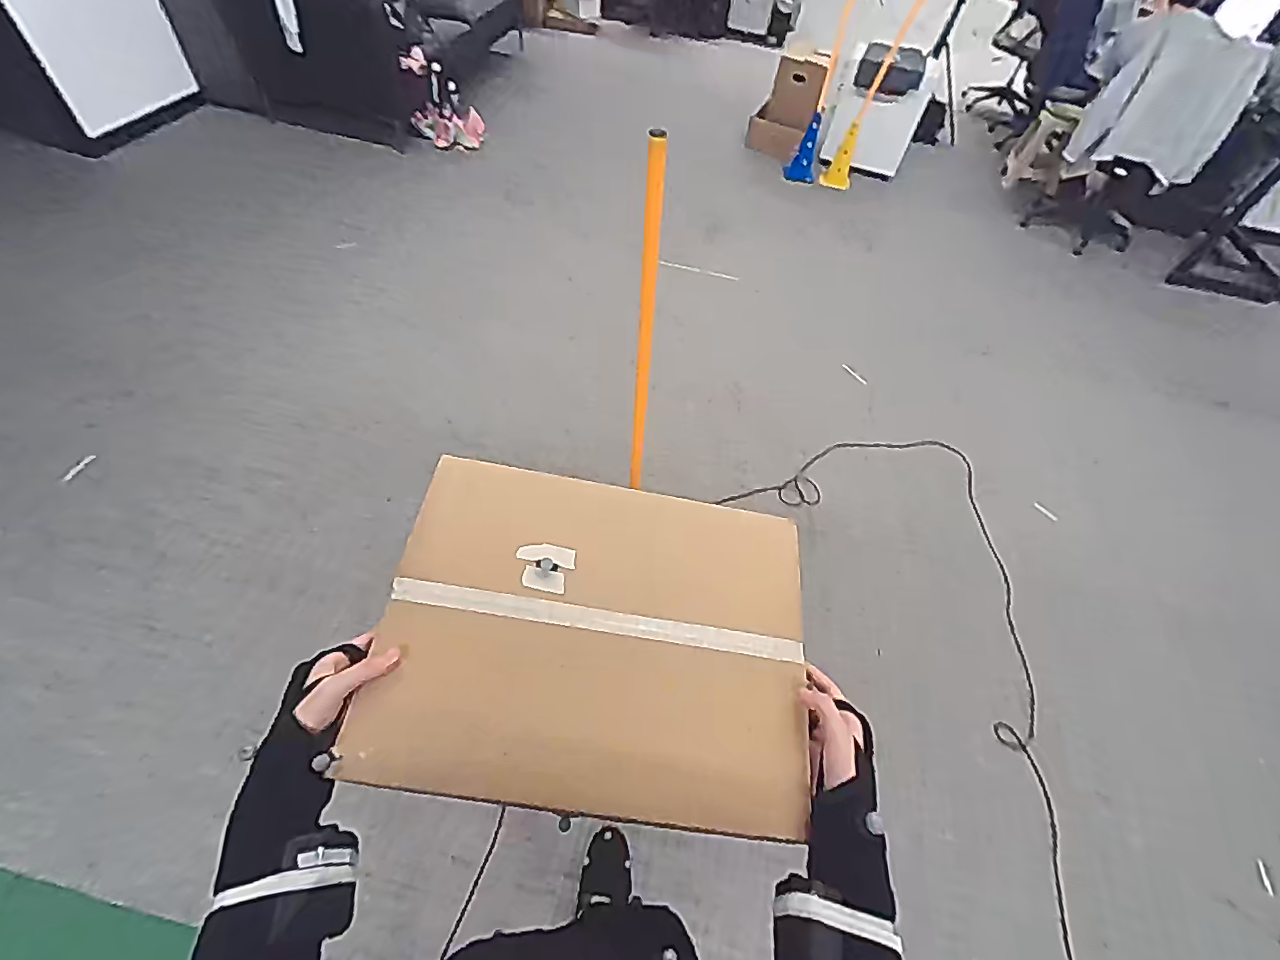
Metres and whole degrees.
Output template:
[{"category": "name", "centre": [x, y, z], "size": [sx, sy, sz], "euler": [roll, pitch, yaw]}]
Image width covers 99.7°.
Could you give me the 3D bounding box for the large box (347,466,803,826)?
[{"category": "large box", "centre": [-0.056, 0.218, 0.667], "size": [0.408, 0.320, 0.320], "euler": [10, 58, -4]}]
